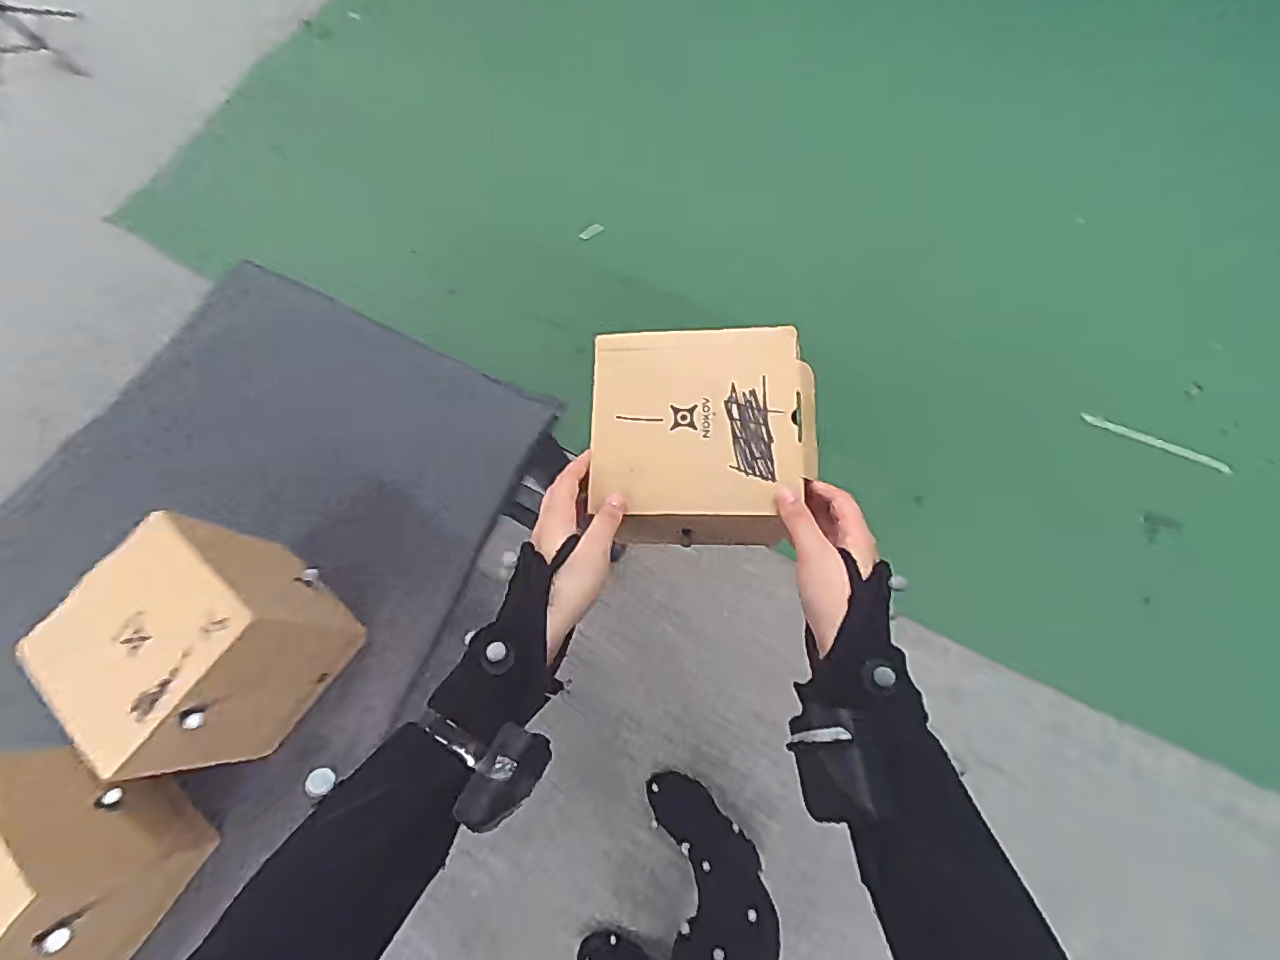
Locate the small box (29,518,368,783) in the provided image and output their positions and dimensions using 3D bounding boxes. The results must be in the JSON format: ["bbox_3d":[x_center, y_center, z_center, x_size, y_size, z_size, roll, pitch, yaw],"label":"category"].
[{"bbox_3d":[-0.430,0.171,0.553,0.179,0.176,0.168,34,78,20],"label":"small box"}]

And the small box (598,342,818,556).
[{"bbox_3d":[0.065,-0.019,0.523,0.179,0.176,0.168,0,75,8],"label":"small box"}]

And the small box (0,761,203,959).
[{"bbox_3d":[-0.556,0.381,0.493,0.168,0.176,0.179,31,78,19],"label":"small box"}]
